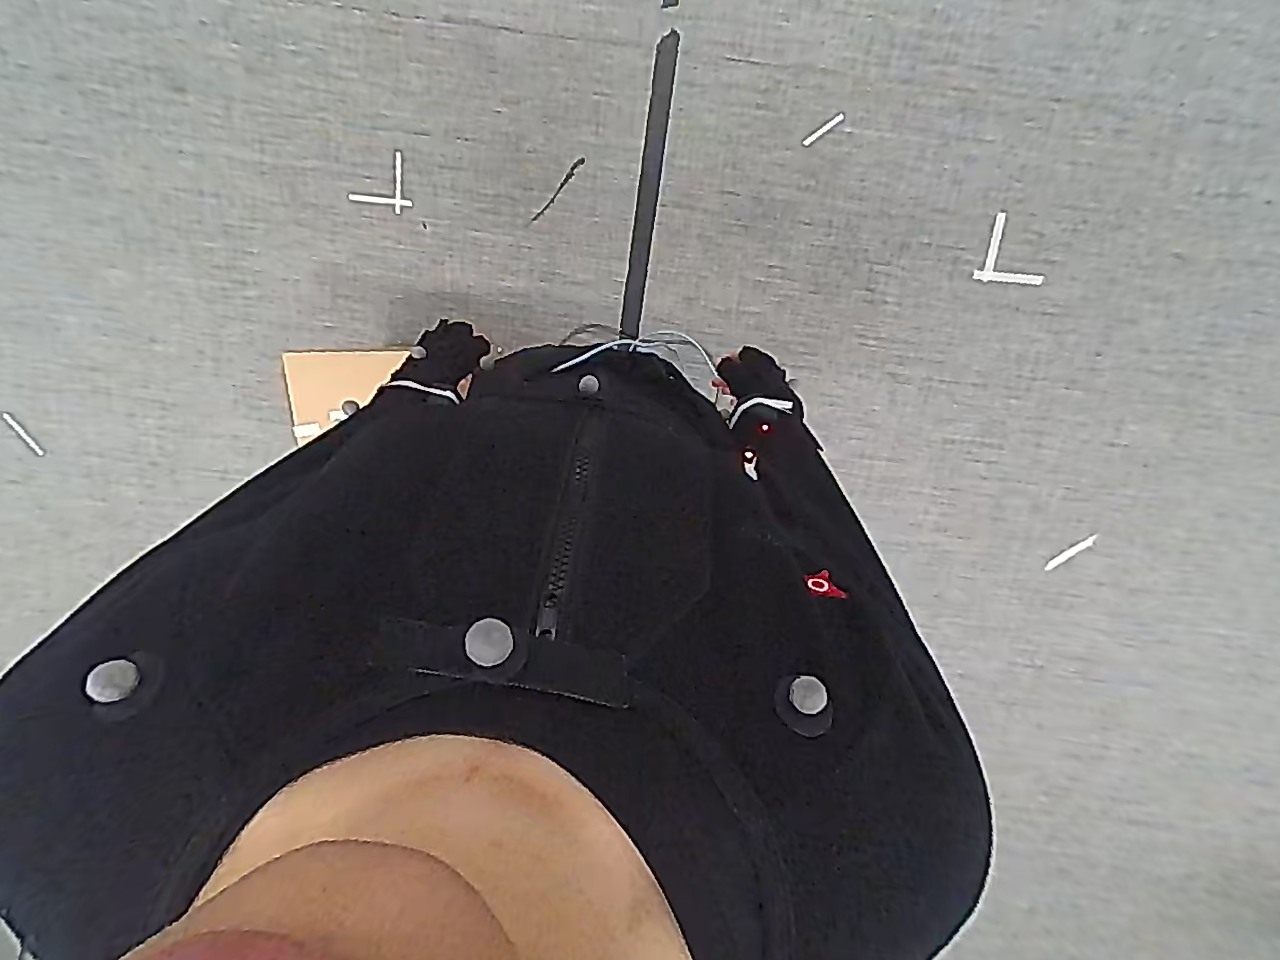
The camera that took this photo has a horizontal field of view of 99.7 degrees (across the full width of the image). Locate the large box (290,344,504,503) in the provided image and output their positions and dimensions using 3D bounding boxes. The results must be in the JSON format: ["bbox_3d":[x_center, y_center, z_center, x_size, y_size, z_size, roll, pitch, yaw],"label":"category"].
[{"bbox_3d":[-0.531,-0.151,1.273,0.320,0.408,0.320,0,106,0],"label":"large box"}]
